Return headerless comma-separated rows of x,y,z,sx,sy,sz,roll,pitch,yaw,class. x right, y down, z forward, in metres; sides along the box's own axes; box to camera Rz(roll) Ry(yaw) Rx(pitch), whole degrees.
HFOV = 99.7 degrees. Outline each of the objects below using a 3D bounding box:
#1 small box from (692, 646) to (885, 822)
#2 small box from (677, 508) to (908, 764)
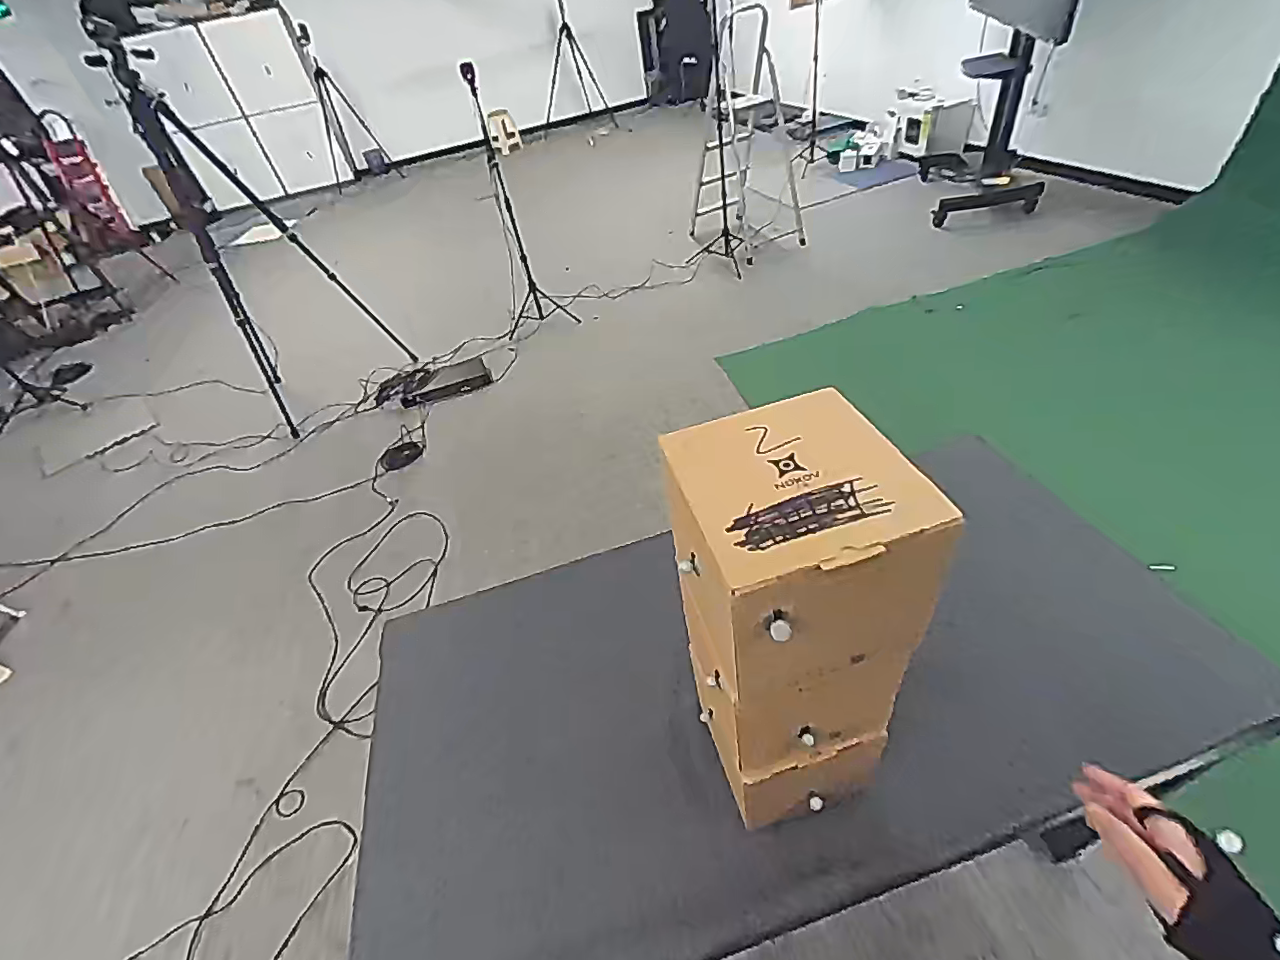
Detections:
0.172,0.287,0.676,0.168,0.176,0.179,-18,42,-4,small box
0.146,0.163,0.575,0.168,0.176,0.179,-16,42,-5,small box
